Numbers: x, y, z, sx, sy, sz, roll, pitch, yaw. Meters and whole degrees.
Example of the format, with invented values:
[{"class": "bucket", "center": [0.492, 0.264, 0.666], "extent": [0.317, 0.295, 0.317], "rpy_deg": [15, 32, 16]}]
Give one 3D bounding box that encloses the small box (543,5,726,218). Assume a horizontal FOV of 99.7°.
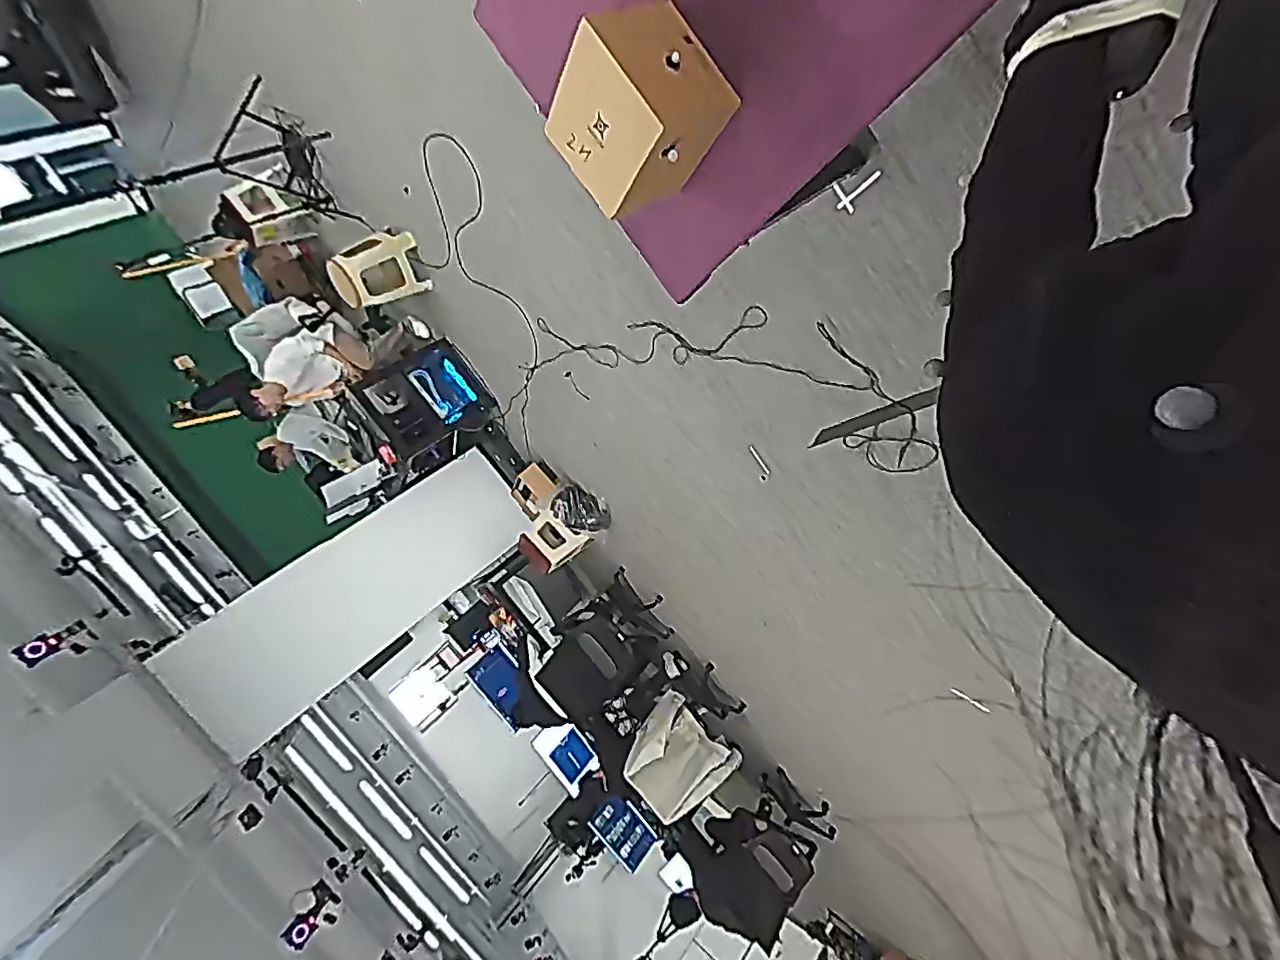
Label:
[{"class": "small box", "center": [-0.004, -0.518, 0.764], "extent": [0.168, 0.176, 0.179], "rpy_deg": [53, 151, -4]}]
